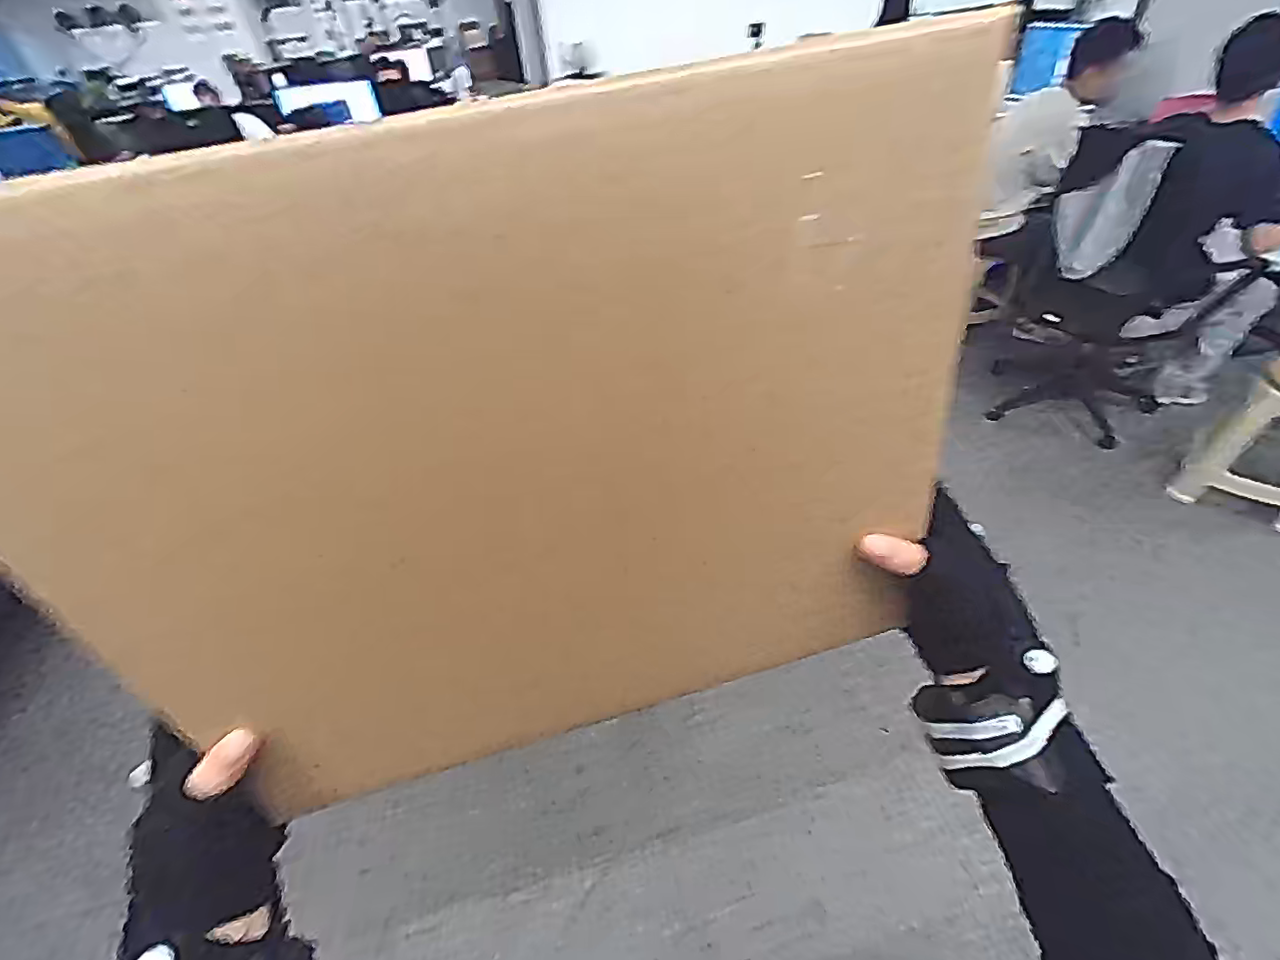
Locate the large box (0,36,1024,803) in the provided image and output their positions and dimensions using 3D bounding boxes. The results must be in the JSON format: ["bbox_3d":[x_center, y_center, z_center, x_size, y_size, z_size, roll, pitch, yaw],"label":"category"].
[{"bbox_3d":[-0.062,-0.061,0.375,0.408,0.320,0.320,-14,34,-8],"label":"large box"}]
